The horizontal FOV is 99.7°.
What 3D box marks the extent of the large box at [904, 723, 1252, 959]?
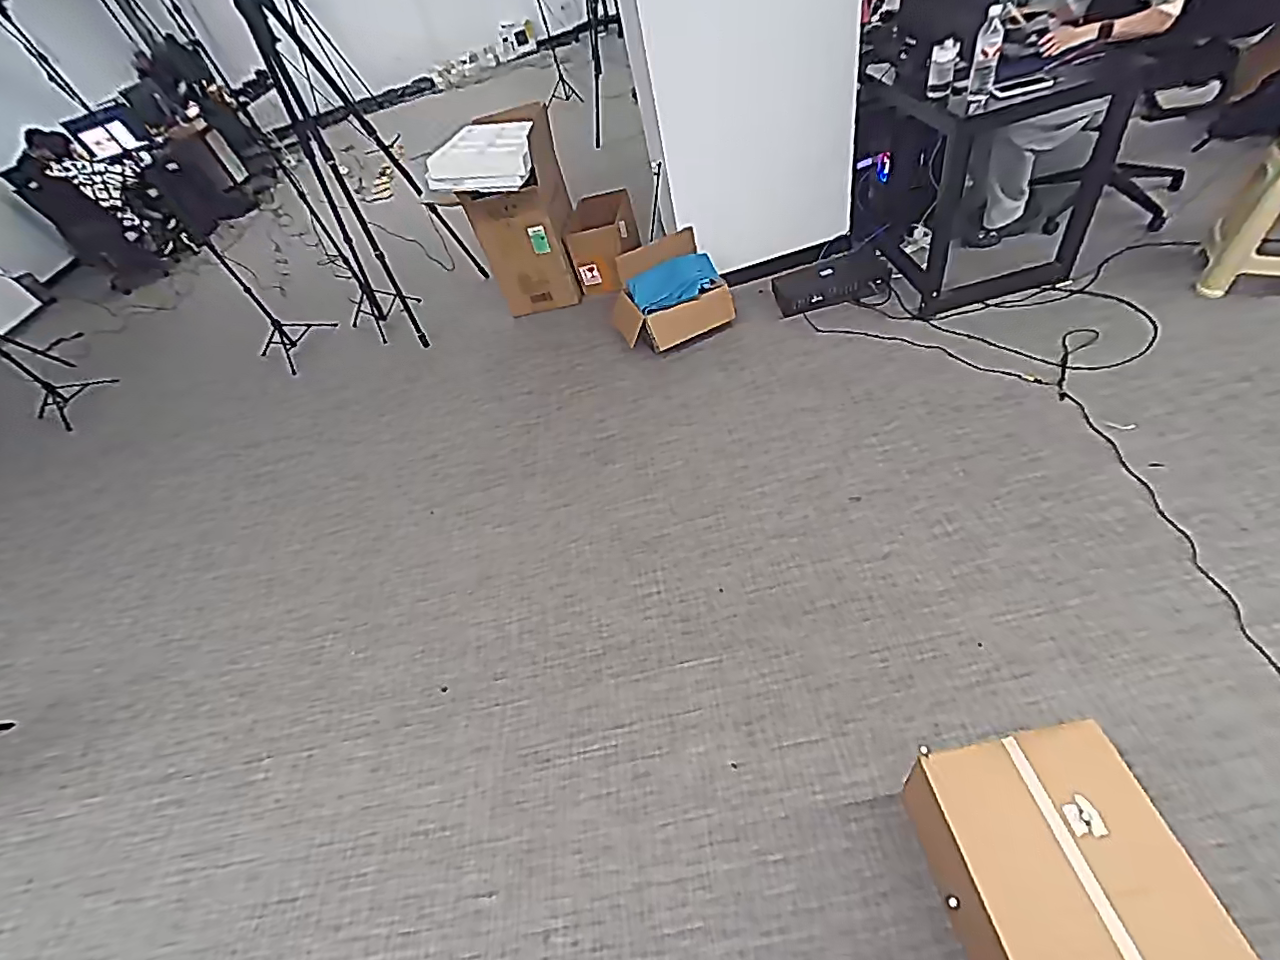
[{"bbox_3d":[0.724,0.716,0.959,0.320,0.320,0.408,-14,46,4],"label":"large box"}]
